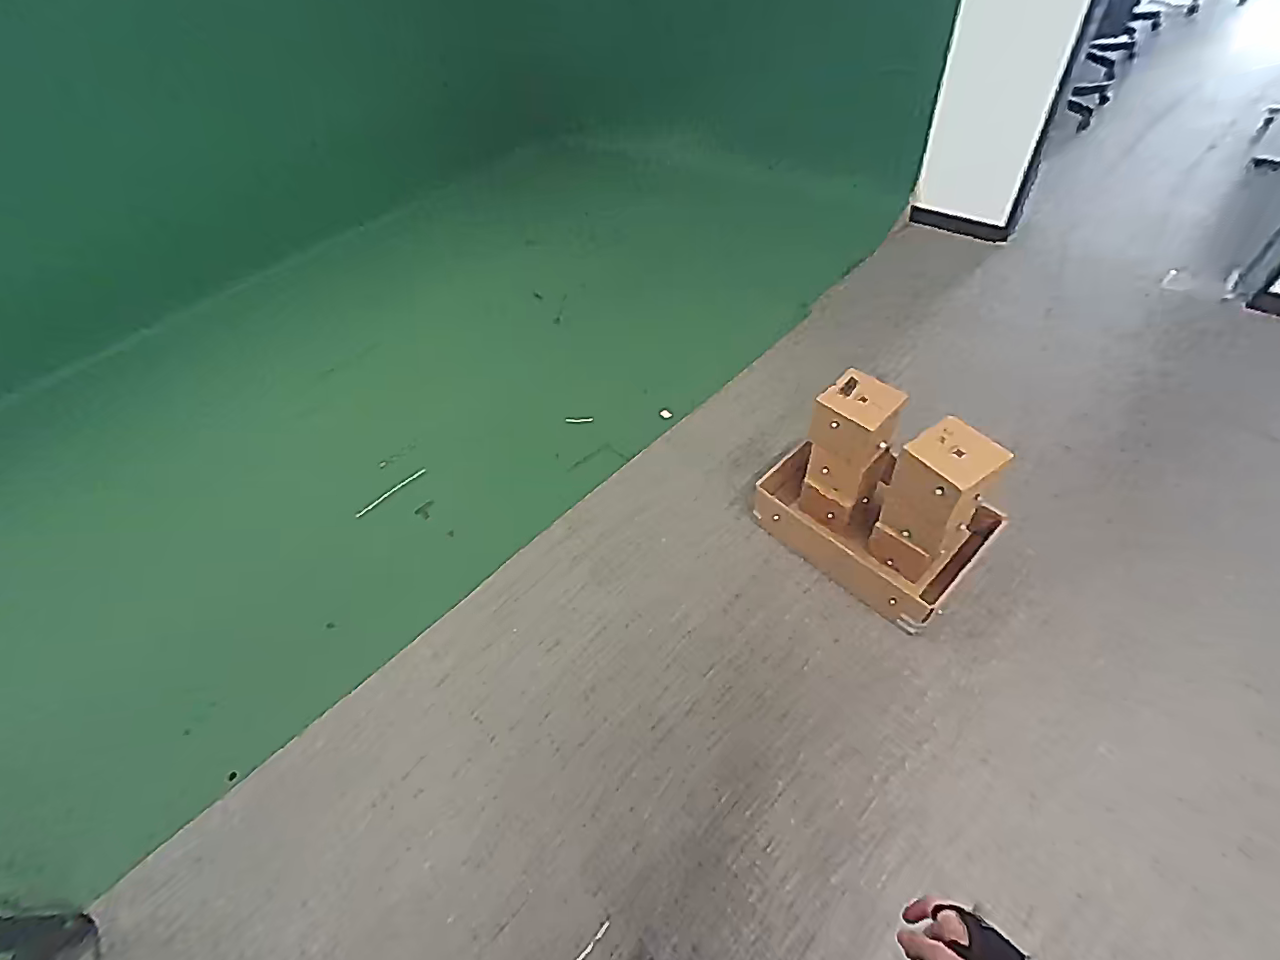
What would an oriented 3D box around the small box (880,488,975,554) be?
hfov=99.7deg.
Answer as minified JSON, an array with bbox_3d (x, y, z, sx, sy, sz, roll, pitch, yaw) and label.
[{"bbox_3d":[0.788,0.077,1.470,0.168,0.176,0.179,-37,54,-17],"label":"small box"}]

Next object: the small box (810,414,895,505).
[{"bbox_3d":[0.627,-0.058,1.615,0.179,0.176,0.168,-41,58,-20],"label":"small box"}]

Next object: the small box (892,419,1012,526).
[{"bbox_3d":[0.757,-0.011,1.332,0.168,0.176,0.179,-31,52,-12],"label":"small box"}]
